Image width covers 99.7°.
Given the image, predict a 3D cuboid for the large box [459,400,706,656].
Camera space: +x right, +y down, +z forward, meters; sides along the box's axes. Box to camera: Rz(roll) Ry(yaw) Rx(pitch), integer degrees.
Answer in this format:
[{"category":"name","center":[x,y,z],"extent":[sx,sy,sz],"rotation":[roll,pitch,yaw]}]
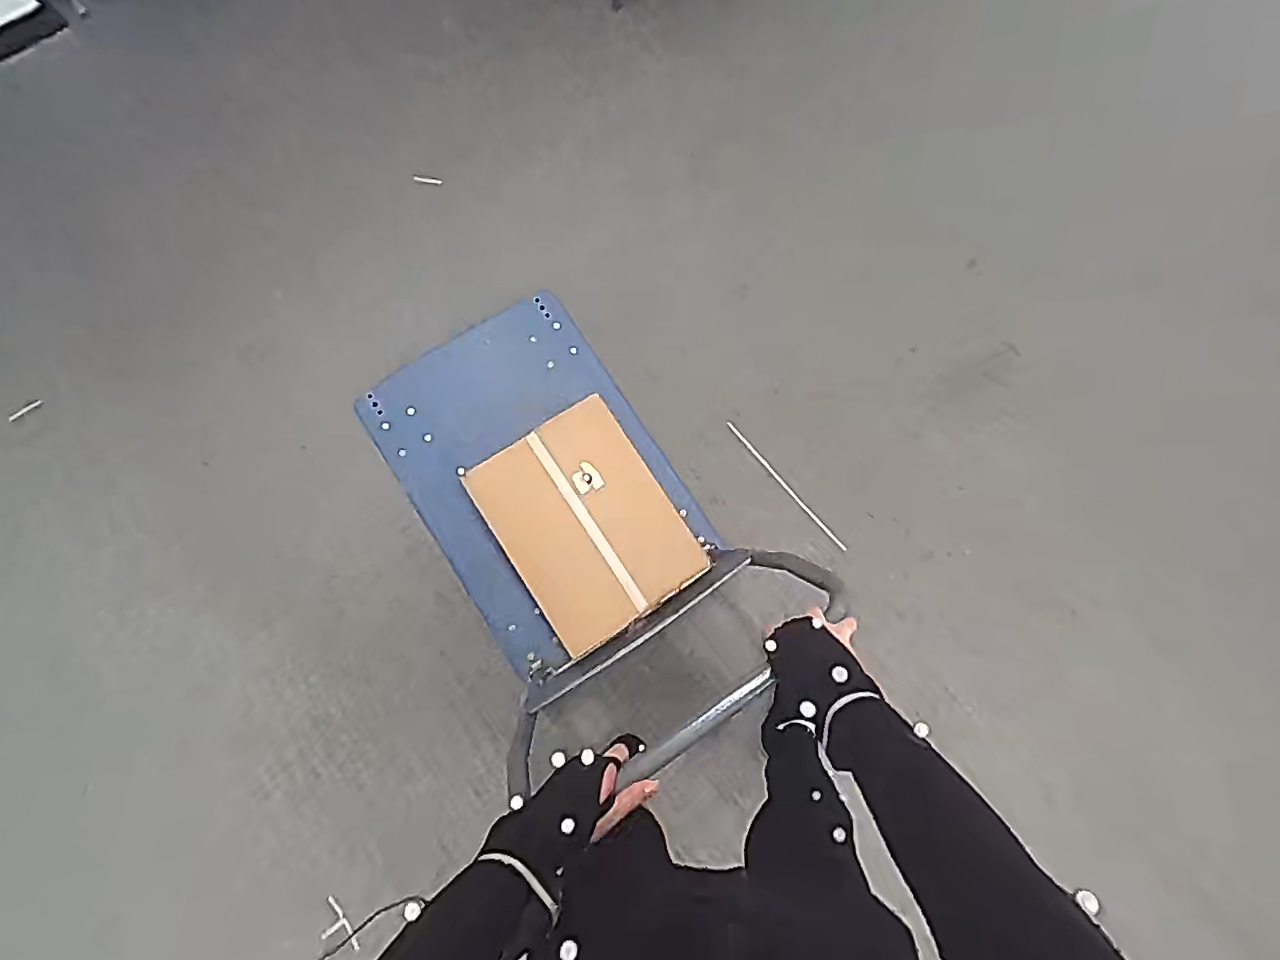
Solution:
[{"category":"large box","center":[-0.117,0.107,1.175],"extent":[0.320,0.320,0.408],"rotation":[-34,84,-10]}]
